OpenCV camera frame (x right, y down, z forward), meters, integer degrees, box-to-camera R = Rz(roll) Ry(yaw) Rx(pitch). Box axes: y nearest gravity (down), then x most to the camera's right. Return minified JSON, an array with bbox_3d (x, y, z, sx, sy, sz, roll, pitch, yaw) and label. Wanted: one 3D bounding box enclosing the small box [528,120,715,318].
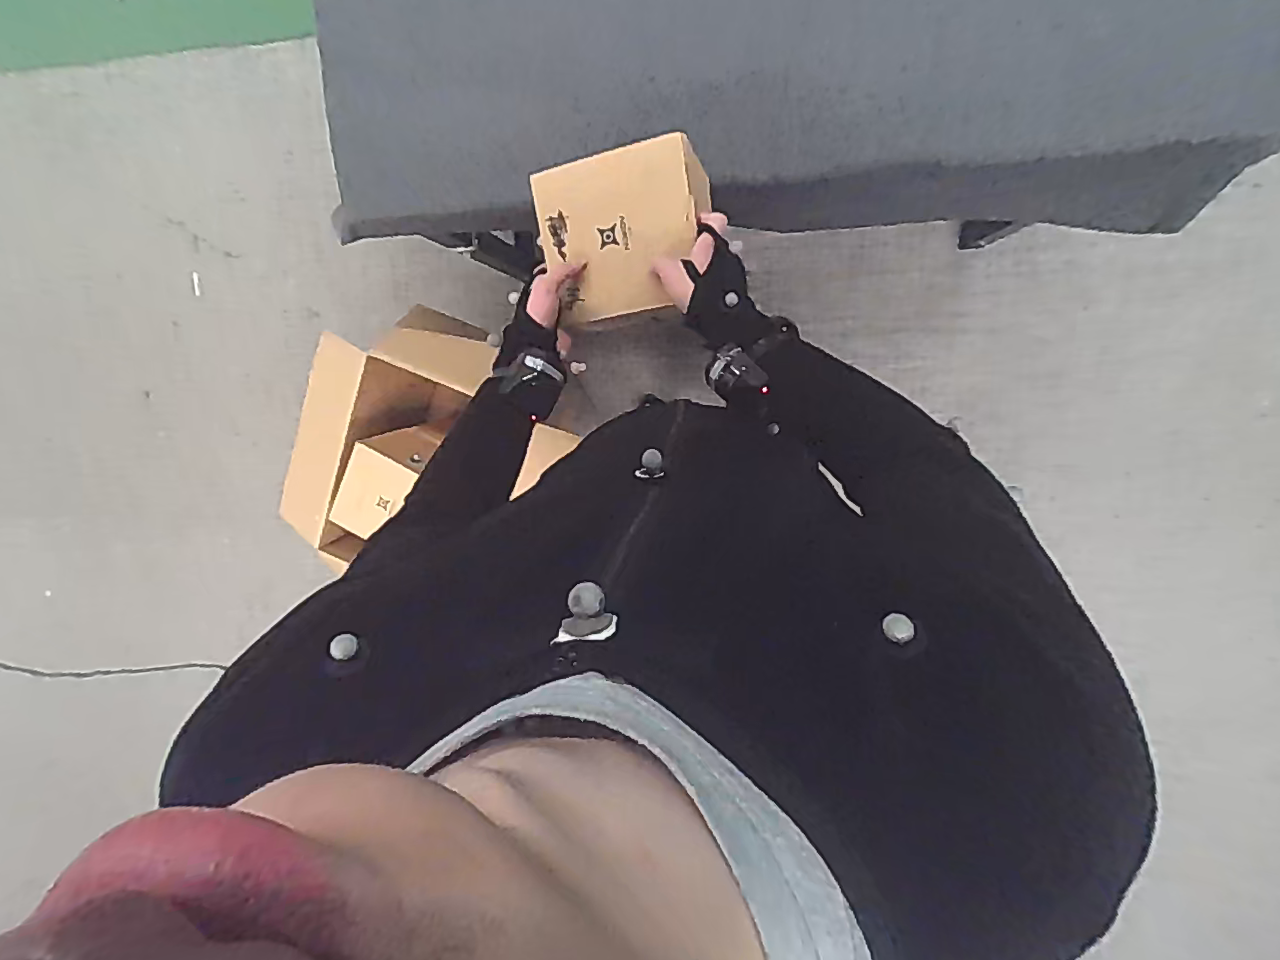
[{"bbox_3d":[-0.007,-0.292,0.647,0.179,0.176,0.168,-6,103,16],"label":"small box"}]
